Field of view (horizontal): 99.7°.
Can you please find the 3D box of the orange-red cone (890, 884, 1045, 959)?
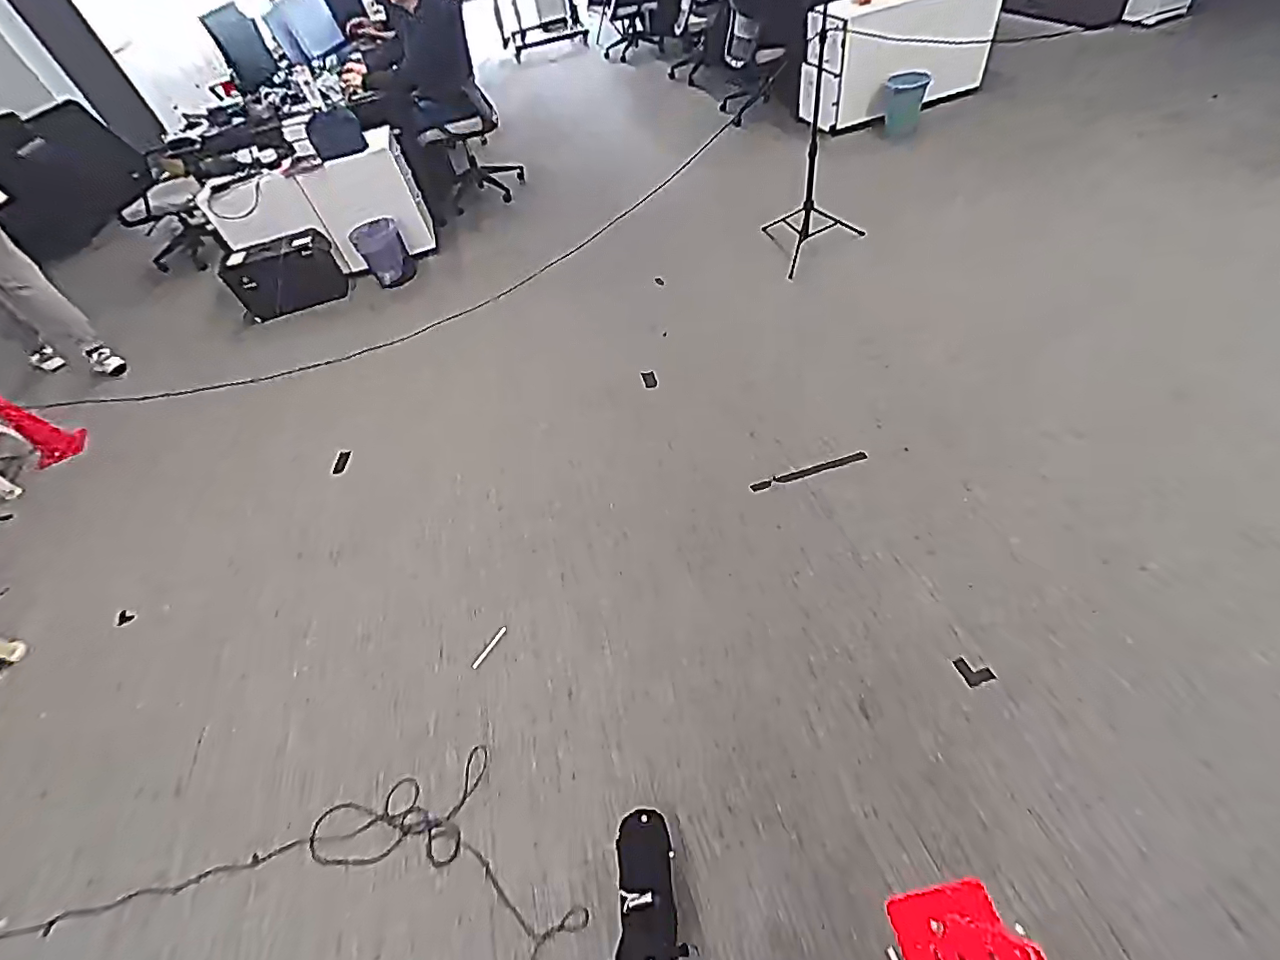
[{"bbox_3d":[0.564,0.769,0.867,0.199,0.360,0.198,-12,49,1],"label":"orange-red cone"}]
